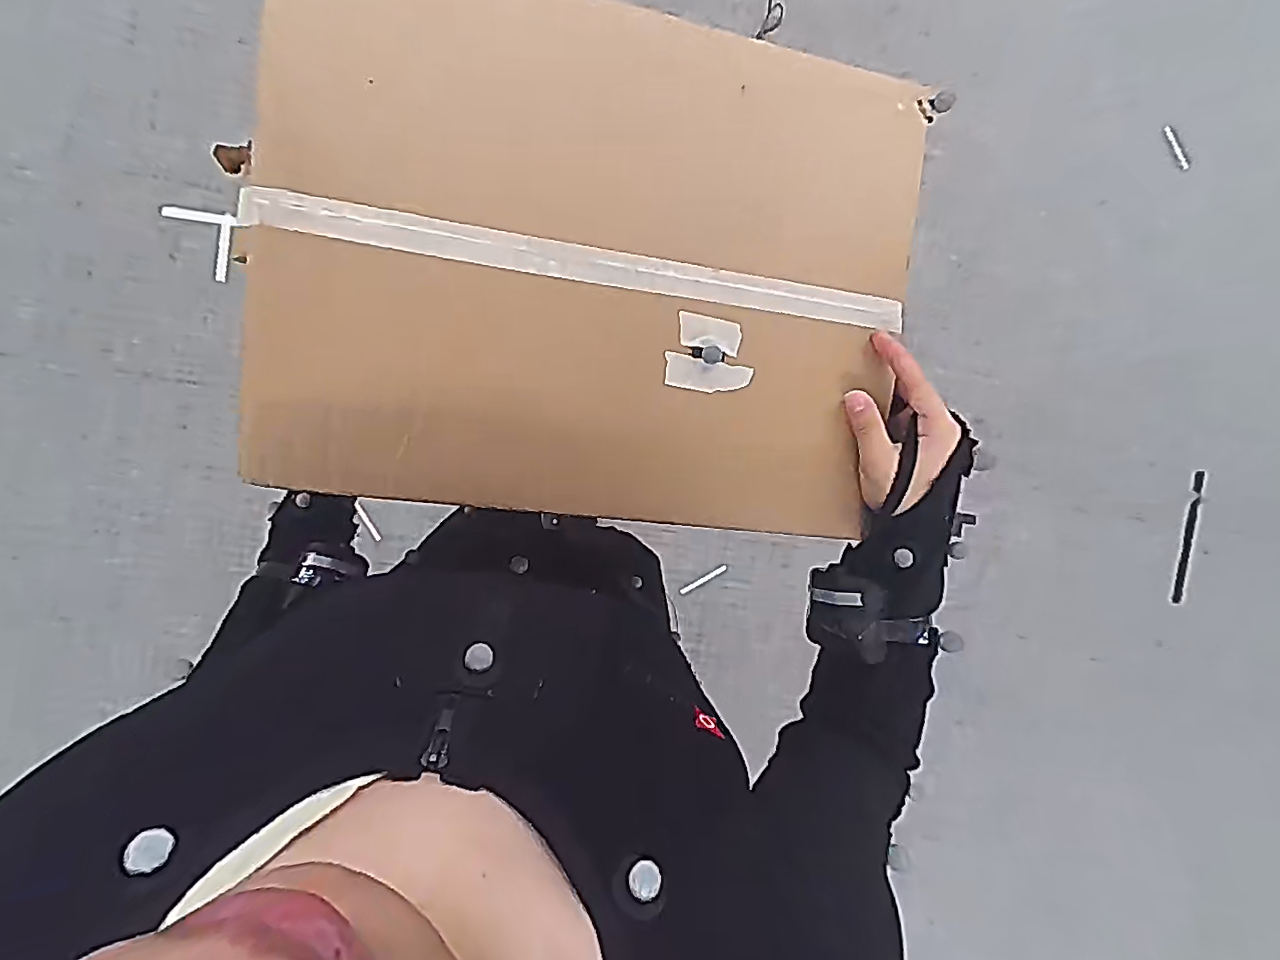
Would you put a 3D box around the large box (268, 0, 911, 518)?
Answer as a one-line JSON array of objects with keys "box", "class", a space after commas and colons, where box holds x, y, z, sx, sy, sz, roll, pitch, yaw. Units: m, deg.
[{"box": [-0.046, -0.151, 0.495, 0.408, 0.320, 0.320, 6, 95, -12], "class": "large box"}]
